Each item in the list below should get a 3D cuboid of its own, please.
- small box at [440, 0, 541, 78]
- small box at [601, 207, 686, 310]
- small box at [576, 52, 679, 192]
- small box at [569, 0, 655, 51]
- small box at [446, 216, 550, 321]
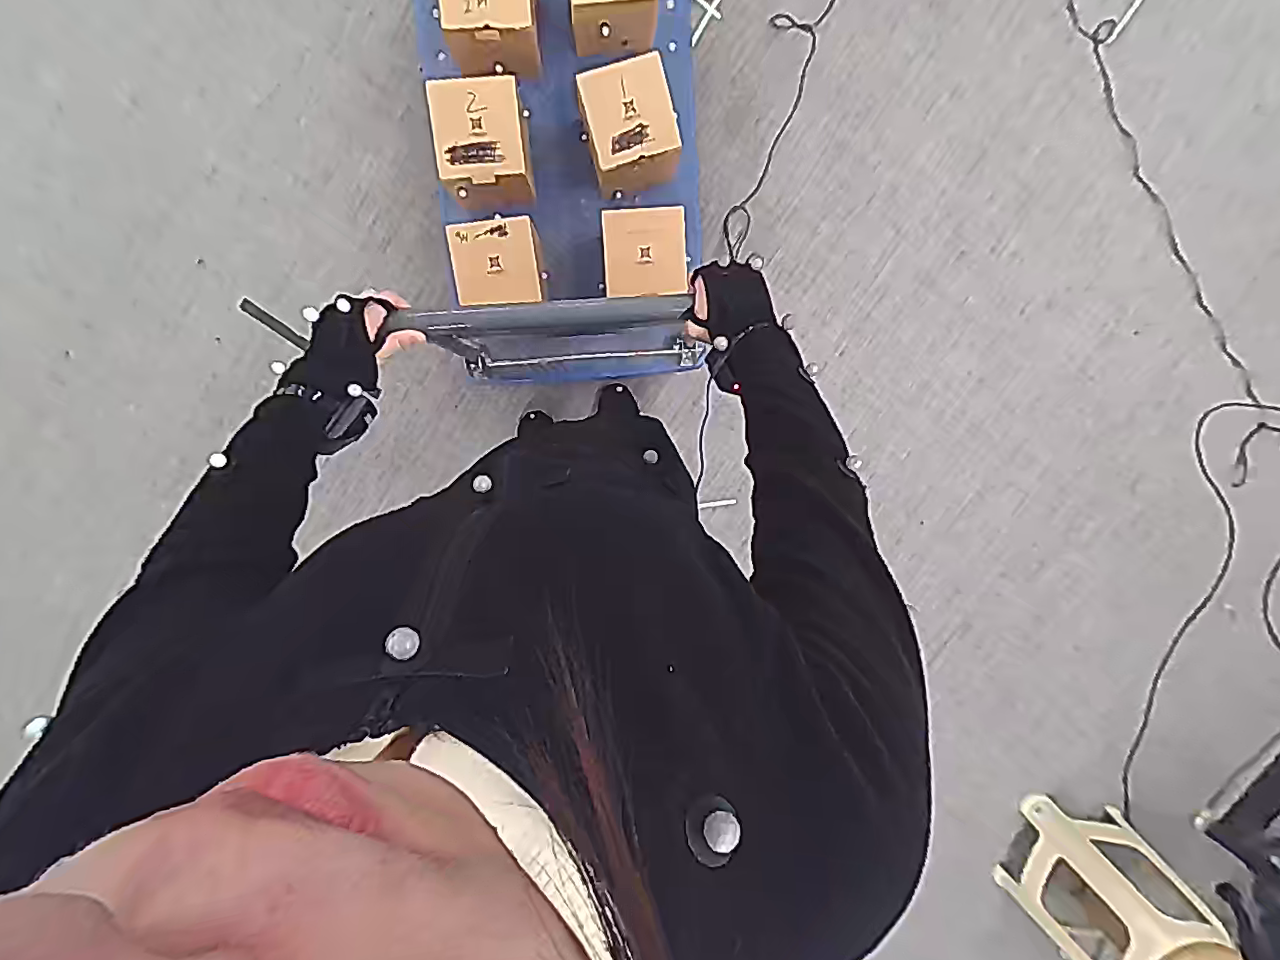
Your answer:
[{"bbox_3d":[-0.289,-0.927,1.055,0.168,0.176,0.179,-3,101,-3],"label":"small box"},{"bbox_3d":[0.006,-0.465,1.158,0.168,0.176,0.179,-4,100,-3],"label":"small box"},{"bbox_3d":[-0.025,-0.717,1.110,0.168,0.176,0.179,-16,100,0],"label":"small box"},{"bbox_3d":[-0.061,-0.983,1.061,0.168,0.176,0.179,-7,100,-2],"label":"small box"},{"bbox_3d":[-0.291,-0.437,1.145,0.168,0.176,0.179,-8,101,-3],"label":"small box"}]
